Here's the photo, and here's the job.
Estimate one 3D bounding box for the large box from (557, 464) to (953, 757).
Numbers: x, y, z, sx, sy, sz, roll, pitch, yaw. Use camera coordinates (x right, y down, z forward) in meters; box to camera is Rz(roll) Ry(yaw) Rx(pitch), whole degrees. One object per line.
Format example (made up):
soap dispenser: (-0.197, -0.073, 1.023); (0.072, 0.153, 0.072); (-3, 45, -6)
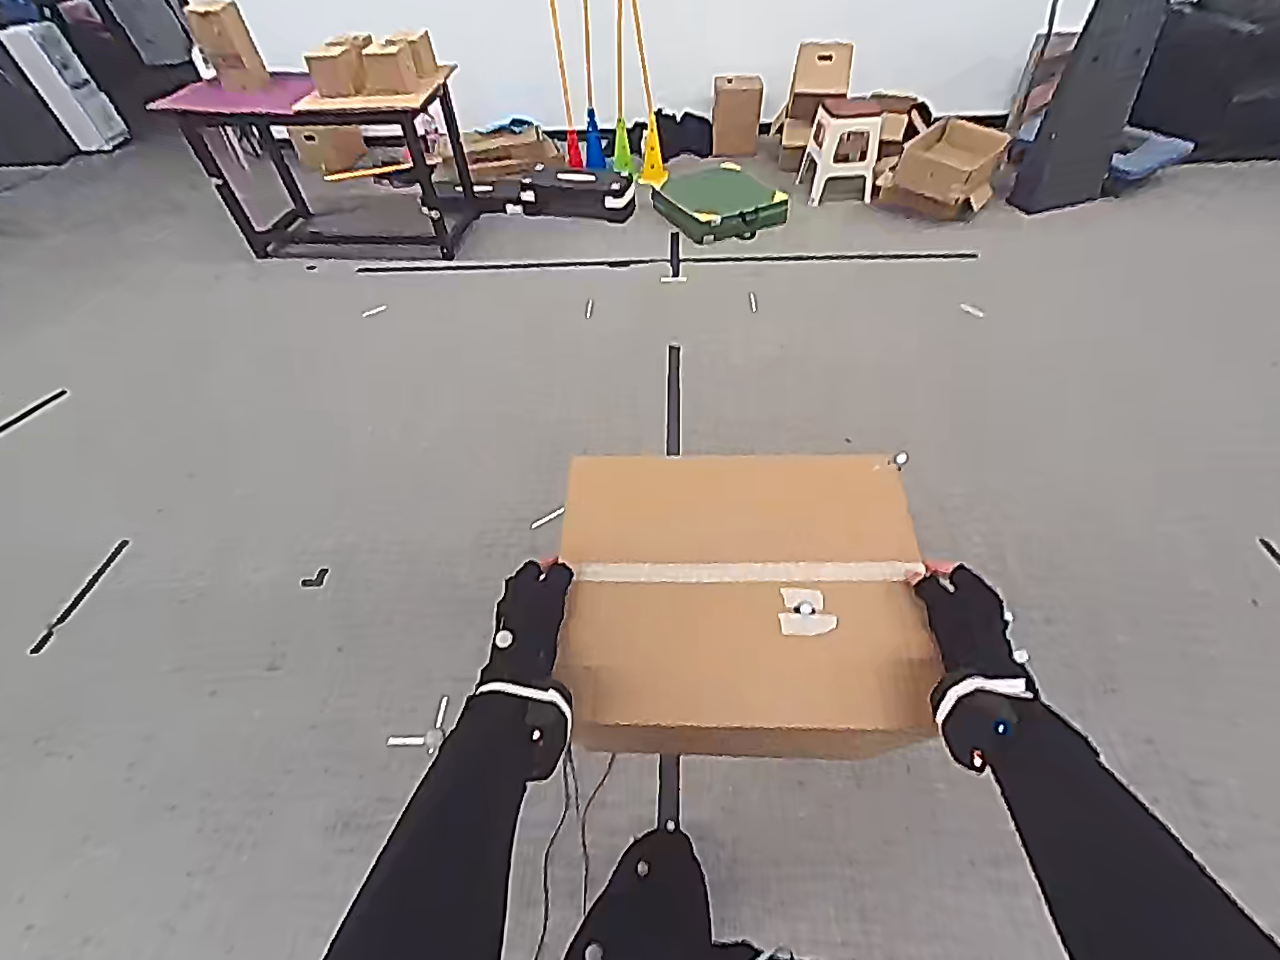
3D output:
large box: (0.118, 0.191, 0.742); (0.408, 0.320, 0.320); (0, 59, 3)
